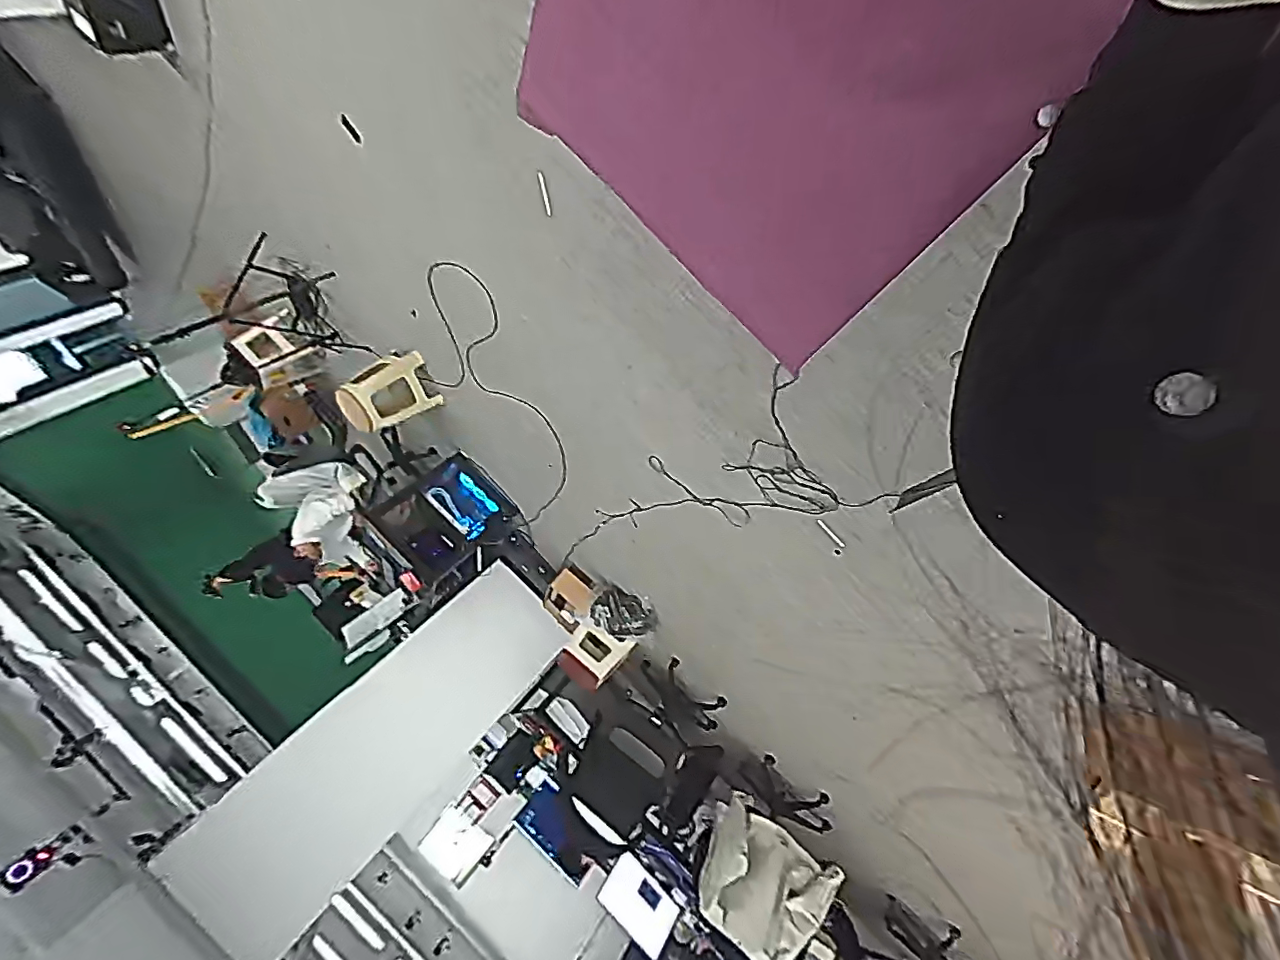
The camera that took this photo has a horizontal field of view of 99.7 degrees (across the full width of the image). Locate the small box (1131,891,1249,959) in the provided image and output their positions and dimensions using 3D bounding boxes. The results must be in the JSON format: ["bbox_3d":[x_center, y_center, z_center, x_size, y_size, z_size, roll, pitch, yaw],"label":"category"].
[{"bbox_3d":[1.368,1.180,1.346,0.168,0.176,0.179,19,137,33],"label":"small box"}]

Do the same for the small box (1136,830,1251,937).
[{"bbox_3d":[1.467,1.085,1.437,0.168,0.176,0.179,19,136,34],"label":"small box"}]
